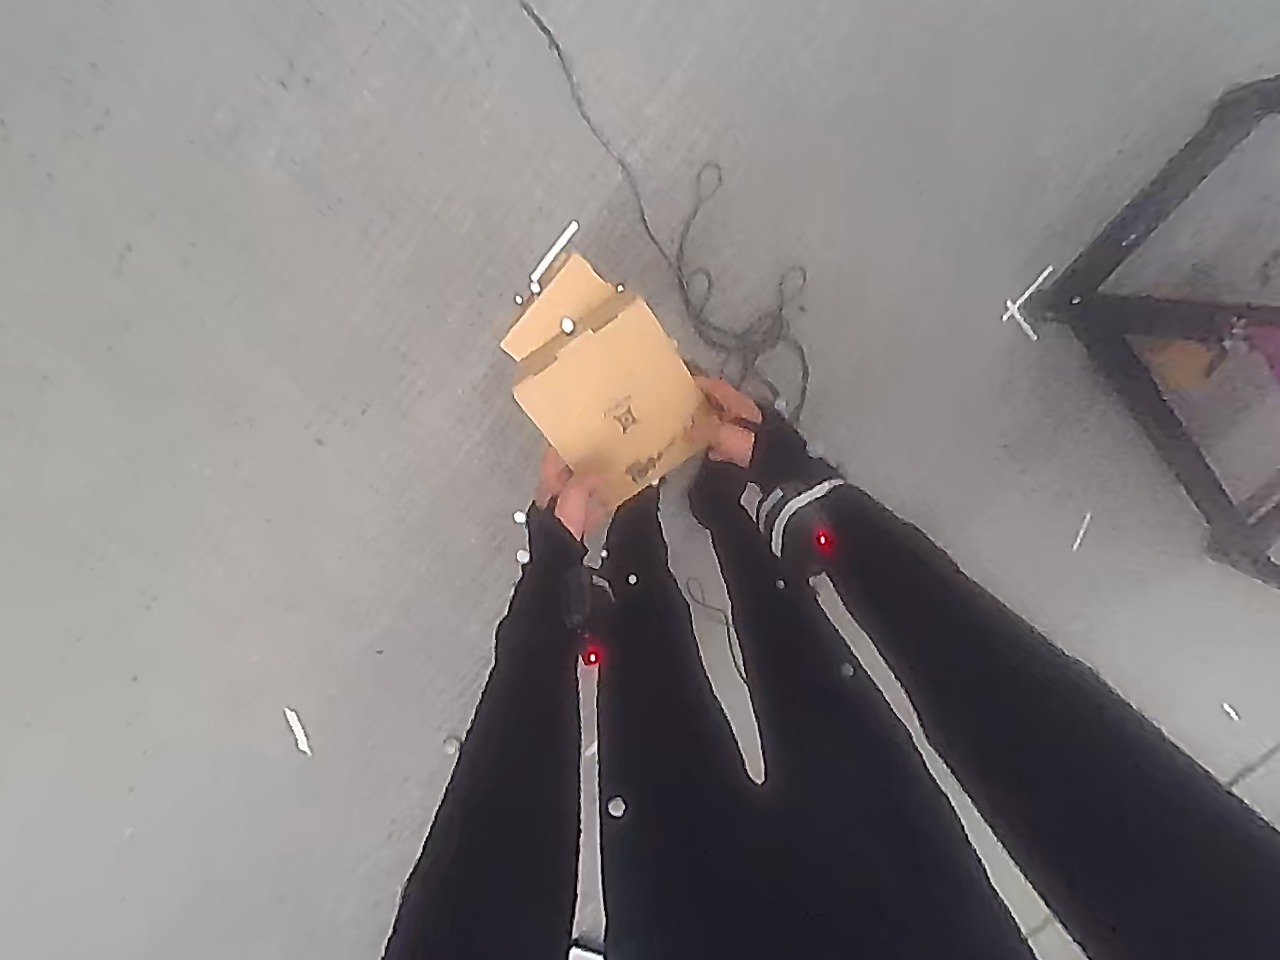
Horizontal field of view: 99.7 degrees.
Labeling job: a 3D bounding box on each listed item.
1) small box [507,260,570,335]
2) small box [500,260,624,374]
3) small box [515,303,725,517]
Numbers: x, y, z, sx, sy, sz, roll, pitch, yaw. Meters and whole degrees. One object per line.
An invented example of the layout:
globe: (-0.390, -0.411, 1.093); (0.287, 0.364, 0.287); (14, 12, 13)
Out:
small box: (-0.129, -0.291, 1.025); (0.179, 0.176, 0.168); (38, 102, -22)
small box: (-0.102, -0.231, 0.877); (0.168, 0.176, 0.179); (39, 101, -21)
small box: (-0.029, -0.093, 0.647); (0.168, 0.176, 0.179); (-34, 112, 5)
